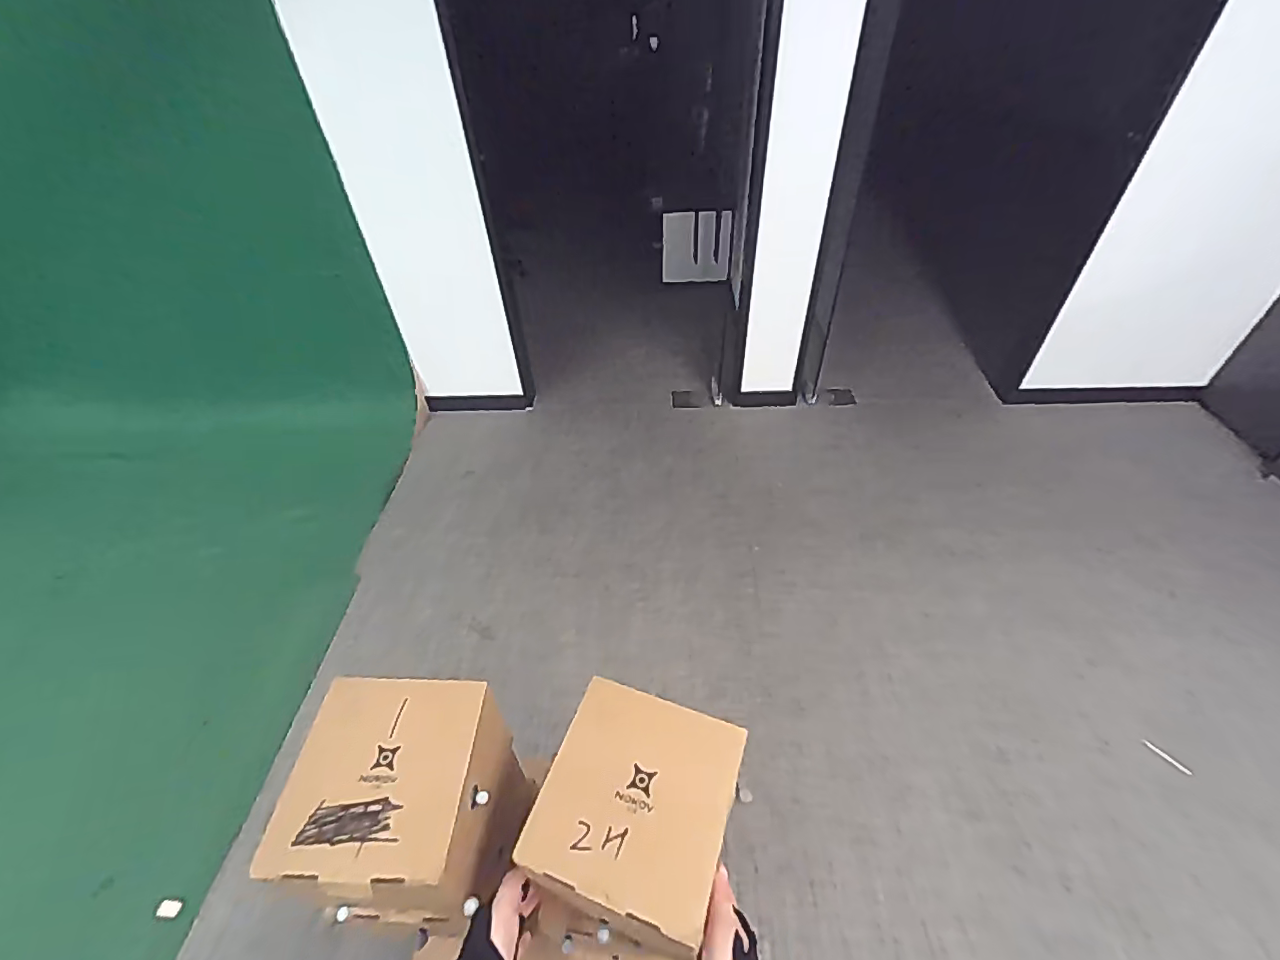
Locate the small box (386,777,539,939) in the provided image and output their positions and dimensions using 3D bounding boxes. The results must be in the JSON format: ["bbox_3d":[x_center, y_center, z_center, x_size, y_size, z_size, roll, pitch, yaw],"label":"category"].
[{"bbox_3d":[-0.239,0.557,0.801,0.168,0.176,0.179,3,45,2],"label":"small box"}]

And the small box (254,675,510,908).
[{"bbox_3d":[-0.242,0.327,0.567,0.168,0.176,0.179,2,44,1],"label":"small box"}]

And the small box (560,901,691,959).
[{"bbox_3d":[-0.005,0.569,0.775,0.168,0.176,0.179,4,45,8],"label":"small box"}]

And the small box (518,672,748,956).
[{"bbox_3d":[0.002,0.333,0.545,0.168,0.176,0.179,13,47,16],"label":"small box"}]
